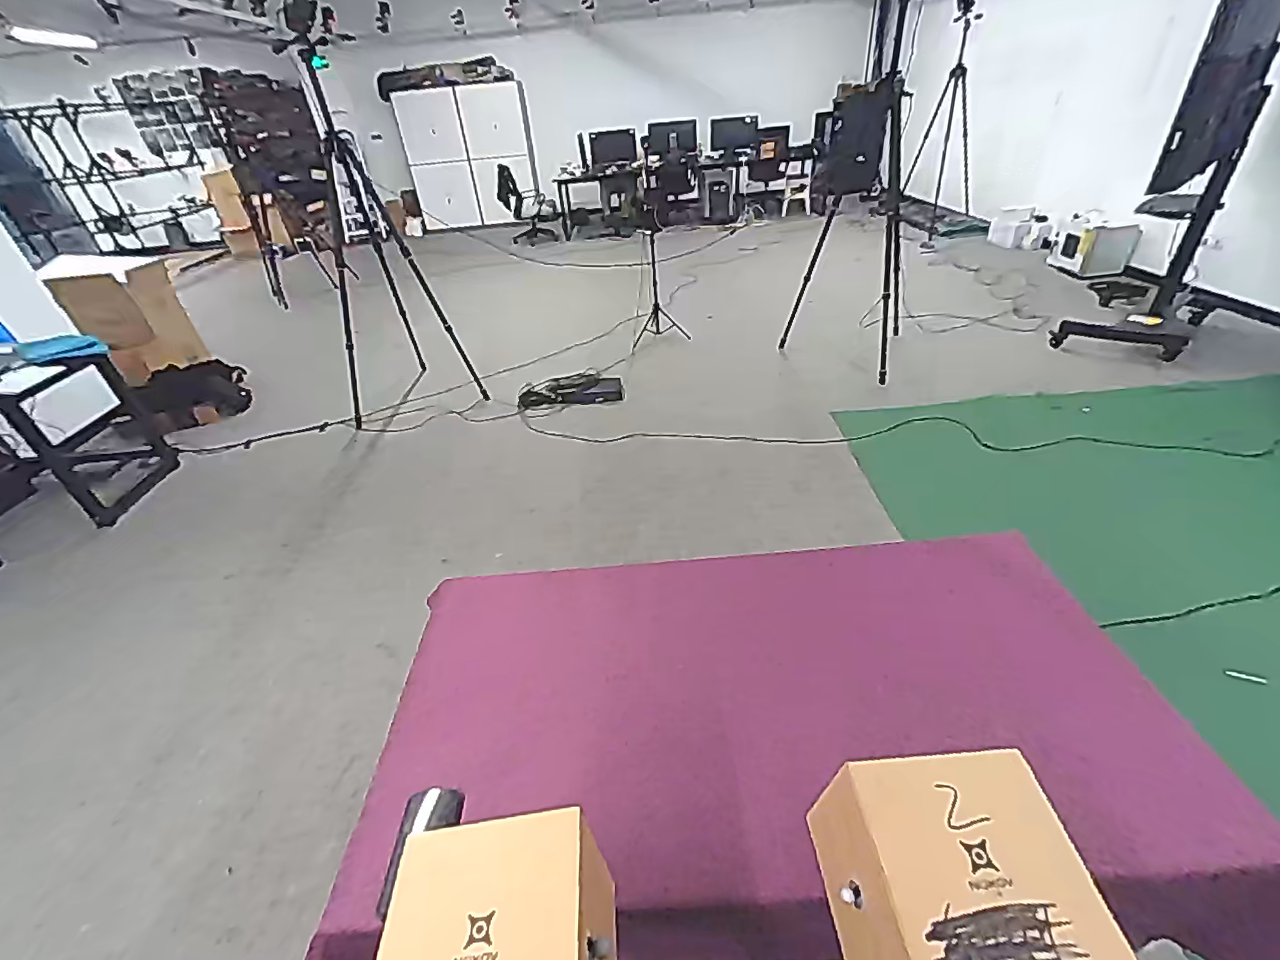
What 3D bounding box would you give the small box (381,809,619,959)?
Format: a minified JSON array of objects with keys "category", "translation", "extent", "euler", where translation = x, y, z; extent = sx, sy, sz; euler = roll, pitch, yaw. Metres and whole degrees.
[{"category":"small box","translation":[-0.112,0.427,0.472],"extent":[0.168,0.176,0.179],"euler":[-9,35,1]}]
